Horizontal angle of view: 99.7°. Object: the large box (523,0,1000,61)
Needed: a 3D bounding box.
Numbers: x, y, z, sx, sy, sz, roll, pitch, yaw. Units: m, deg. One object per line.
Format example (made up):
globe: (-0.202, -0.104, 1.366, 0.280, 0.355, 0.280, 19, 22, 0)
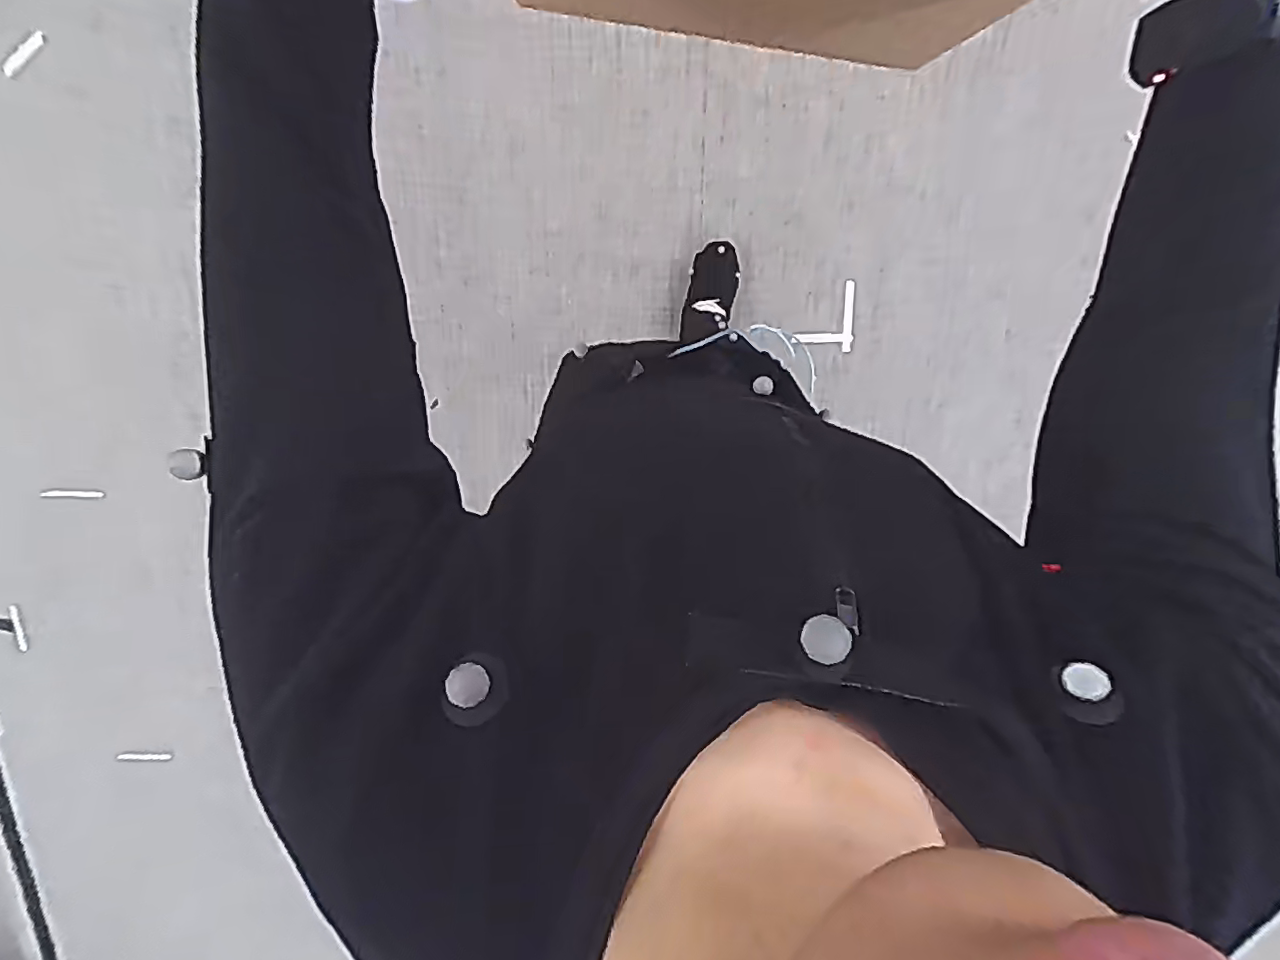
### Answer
large box: (0.105, -0.525, 0.346, 0.408, 0.320, 0.320, 4, 113, -6)
